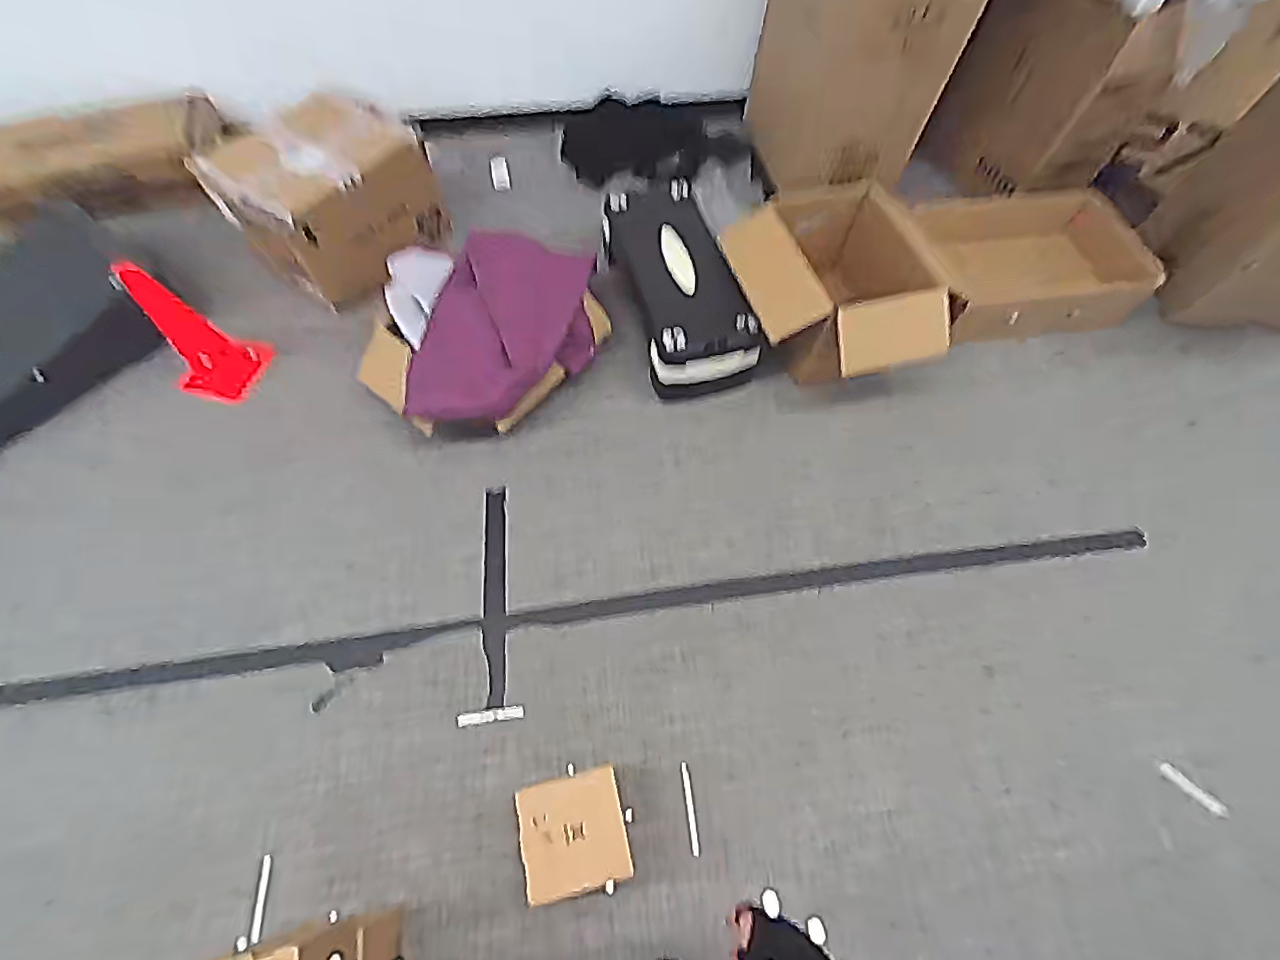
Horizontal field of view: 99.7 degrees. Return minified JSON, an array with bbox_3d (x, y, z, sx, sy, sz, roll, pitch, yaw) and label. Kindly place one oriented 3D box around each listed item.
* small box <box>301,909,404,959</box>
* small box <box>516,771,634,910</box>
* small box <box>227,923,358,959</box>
[{"bbox_3d":[-0.500,0.822,0.866,0.179,0.176,0.168,-9,63,-6],"label":"small box"},{"bbox_3d":[-0.115,0.635,0.976,0.179,0.176,0.168,-12,63,-7],"label":"small box"},{"bbox_3d":[-0.499,0.735,0.728,0.168,0.176,0.179,-13,64,-6],"label":"small box"}]
